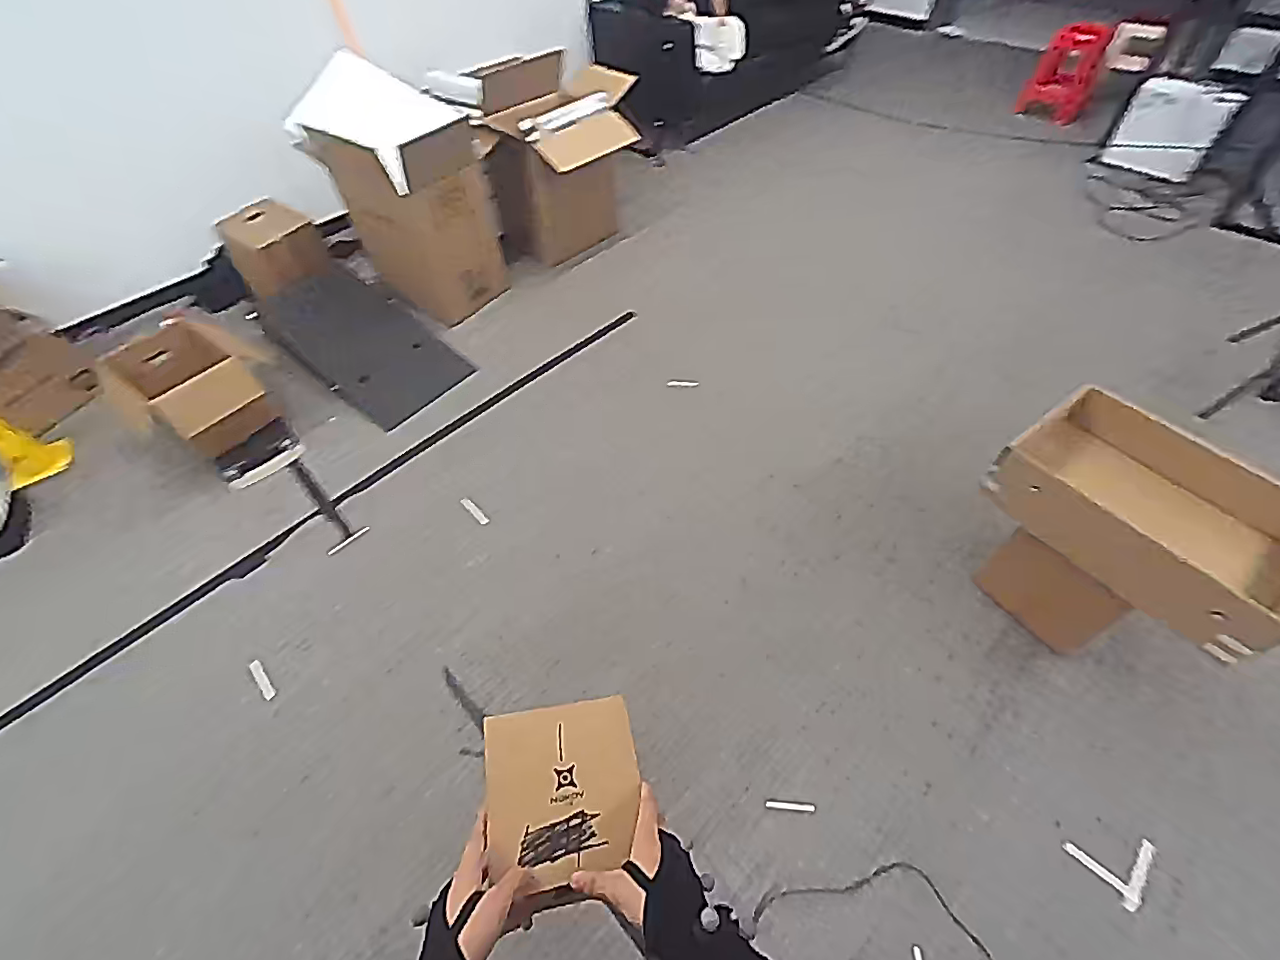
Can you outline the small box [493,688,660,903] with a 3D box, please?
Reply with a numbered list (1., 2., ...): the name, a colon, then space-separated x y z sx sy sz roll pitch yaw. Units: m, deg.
1. small box: -0.082 0.372 0.636 0.168 0.176 0.179 -3 48 -14
